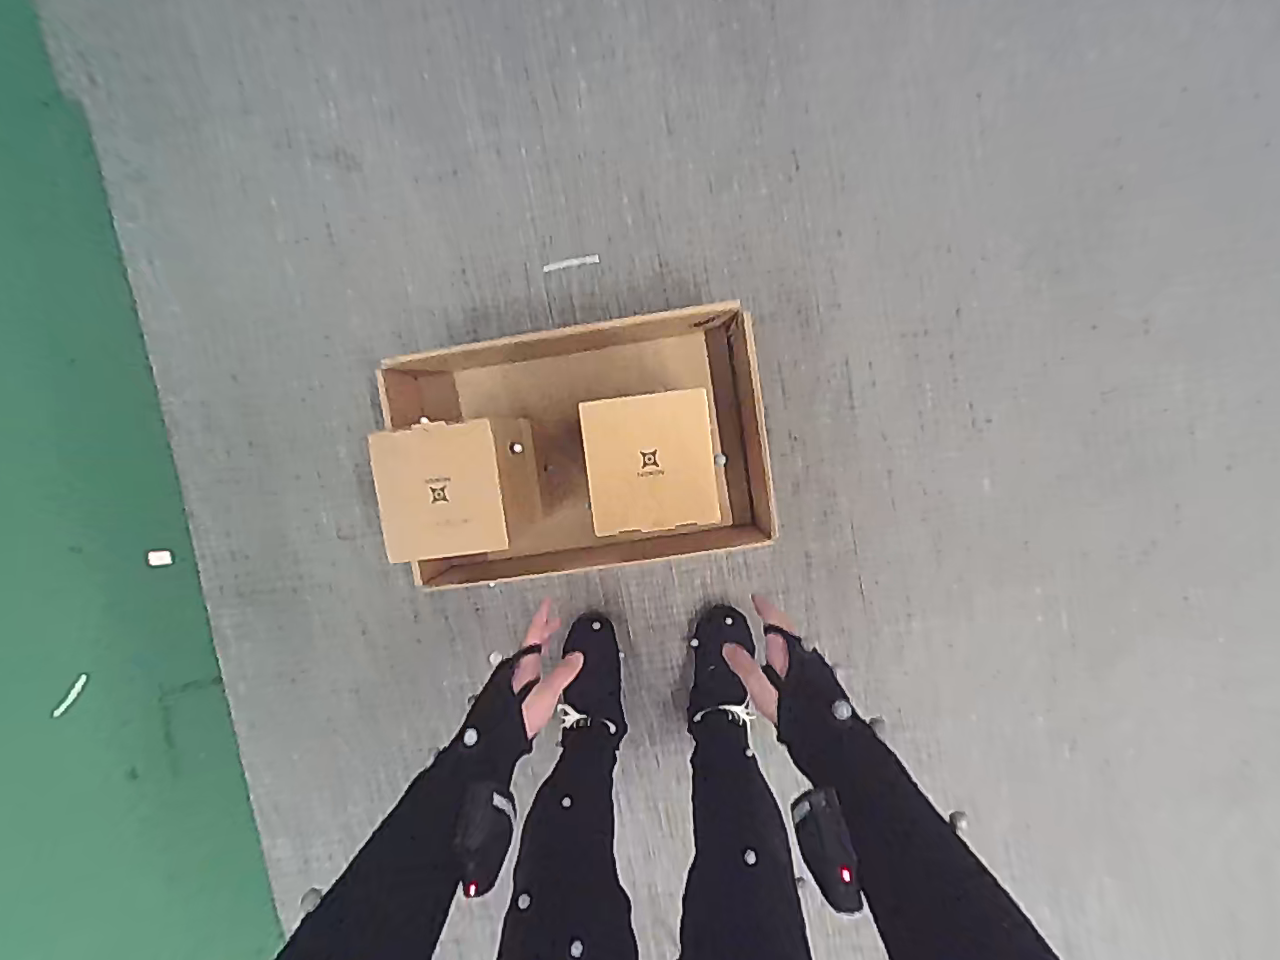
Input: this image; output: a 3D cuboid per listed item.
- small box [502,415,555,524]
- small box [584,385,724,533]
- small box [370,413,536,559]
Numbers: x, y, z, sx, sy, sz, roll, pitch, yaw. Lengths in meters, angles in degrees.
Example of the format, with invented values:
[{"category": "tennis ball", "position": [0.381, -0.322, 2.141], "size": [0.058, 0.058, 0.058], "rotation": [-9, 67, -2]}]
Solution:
[{"category": "small box", "position": [-0.250, -0.013, 0.936], "size": [0.168, 0.176, 0.179], "rotation": [-6, 94, 3]}, {"category": "small box", "position": [0.020, -0.032, 0.763], "size": [0.168, 0.176, 0.179], "rotation": [-7, 96, 3]}, {"category": "small box", "position": [-0.255, 0.003, 0.774], "size": [0.168, 0.176, 0.179], "rotation": [-6, 95, 2]}]
